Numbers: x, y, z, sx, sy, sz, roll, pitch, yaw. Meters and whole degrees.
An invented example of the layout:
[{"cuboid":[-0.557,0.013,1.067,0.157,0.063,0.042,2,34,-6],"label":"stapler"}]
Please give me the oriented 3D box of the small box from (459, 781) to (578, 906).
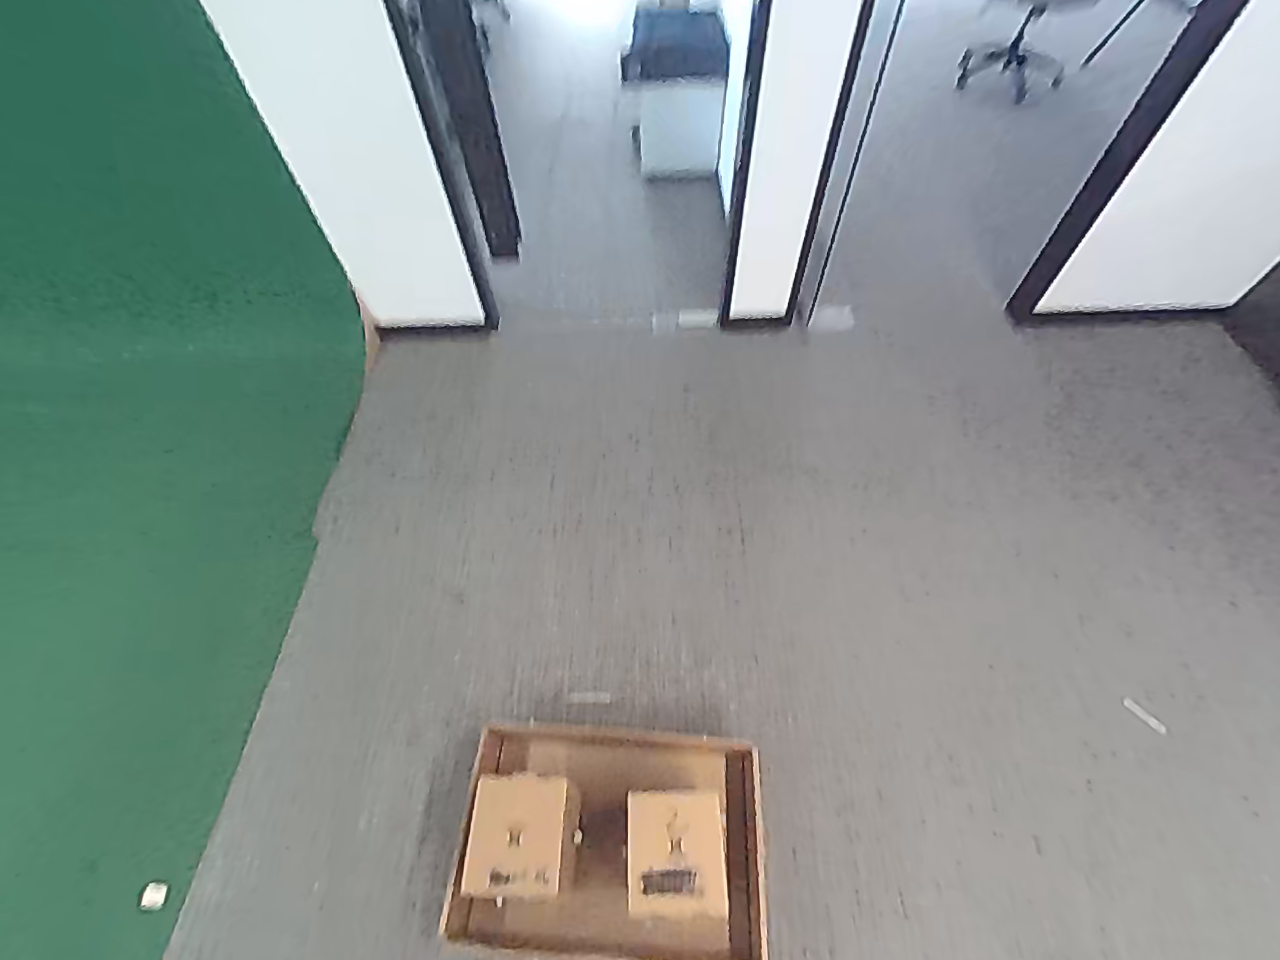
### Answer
[{"cuboid":[-0.211,0.670,0.996,0.168,0.176,0.179,0,53,3],"label":"small box"}]
